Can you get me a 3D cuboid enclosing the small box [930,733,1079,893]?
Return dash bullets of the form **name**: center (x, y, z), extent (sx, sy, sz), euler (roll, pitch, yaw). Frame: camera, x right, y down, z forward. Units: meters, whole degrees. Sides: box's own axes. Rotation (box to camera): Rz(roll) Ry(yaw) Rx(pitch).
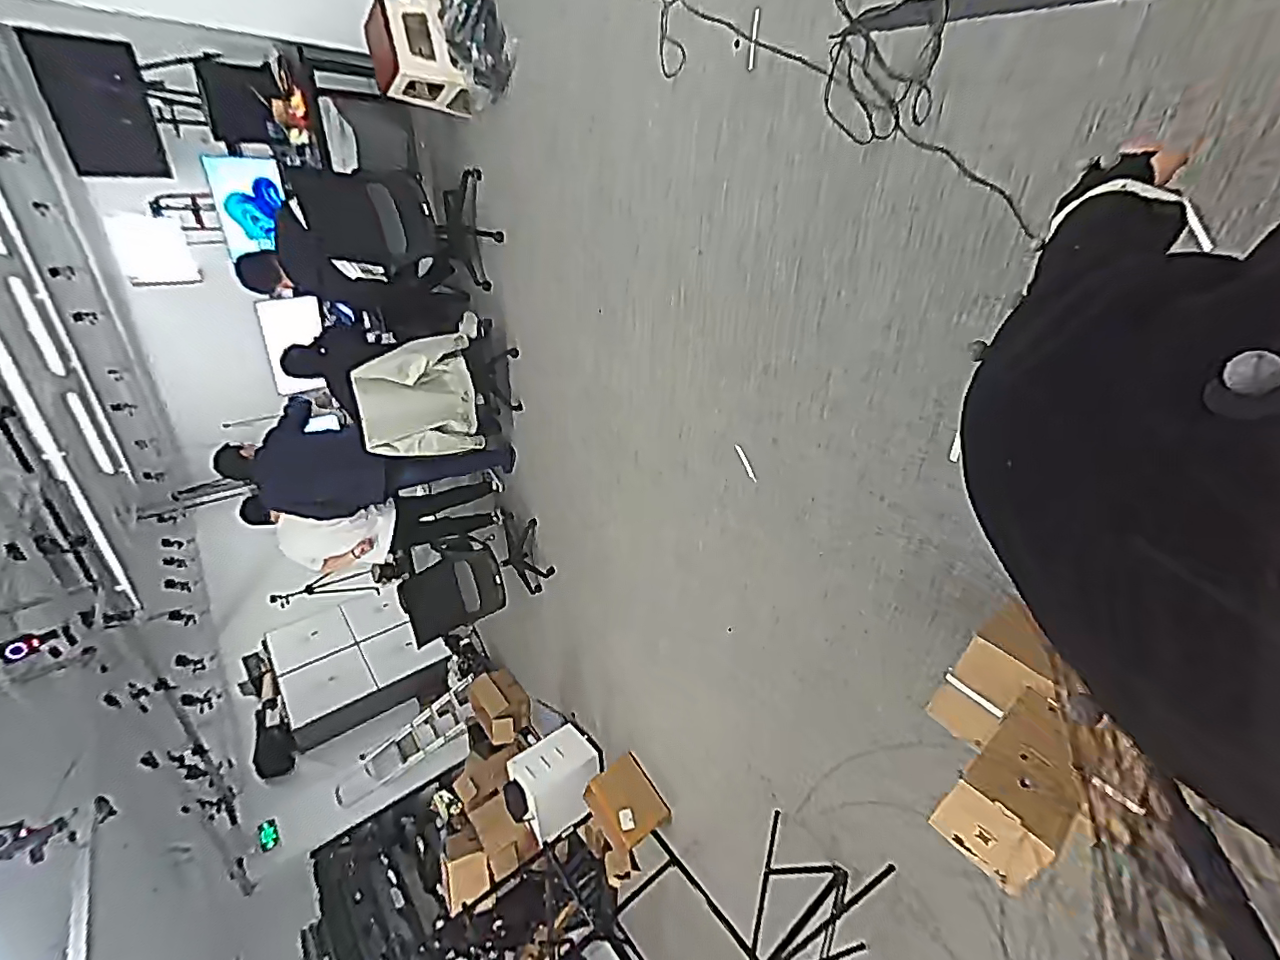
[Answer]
- **small box**: center (0.713, 0.639, 1.056), extent (0.168, 0.176, 0.179), euler (37, 133, 38)
